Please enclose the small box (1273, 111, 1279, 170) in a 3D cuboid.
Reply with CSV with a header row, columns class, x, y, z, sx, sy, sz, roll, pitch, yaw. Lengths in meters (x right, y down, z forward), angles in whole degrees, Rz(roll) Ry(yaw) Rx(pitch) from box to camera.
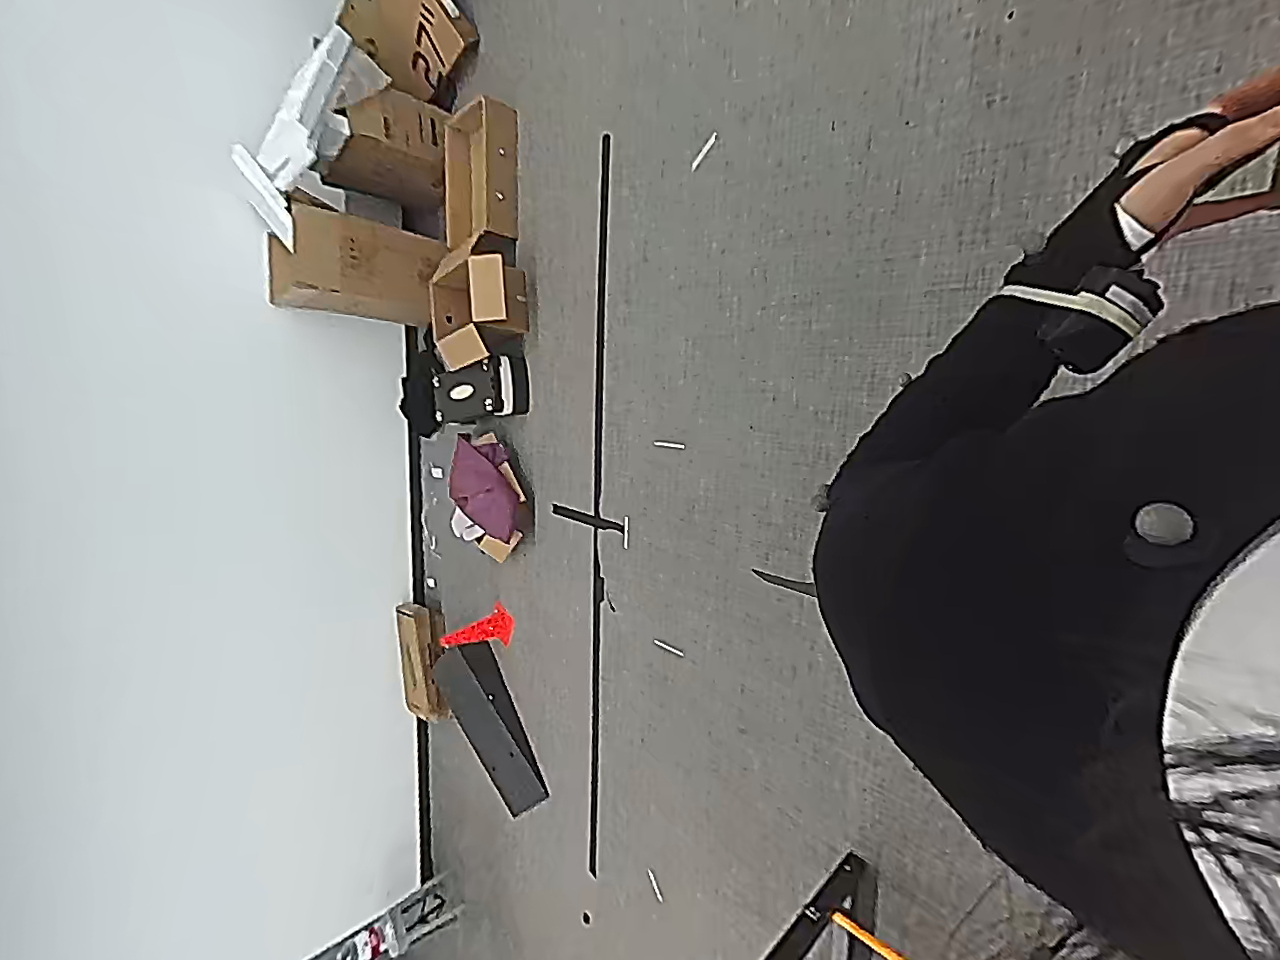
class,x,y,z,sx,sy,sz,roll,pitch,yaw
small box,0.495,-0.290,0.297,0.168,0.176,0.179,13,109,44
